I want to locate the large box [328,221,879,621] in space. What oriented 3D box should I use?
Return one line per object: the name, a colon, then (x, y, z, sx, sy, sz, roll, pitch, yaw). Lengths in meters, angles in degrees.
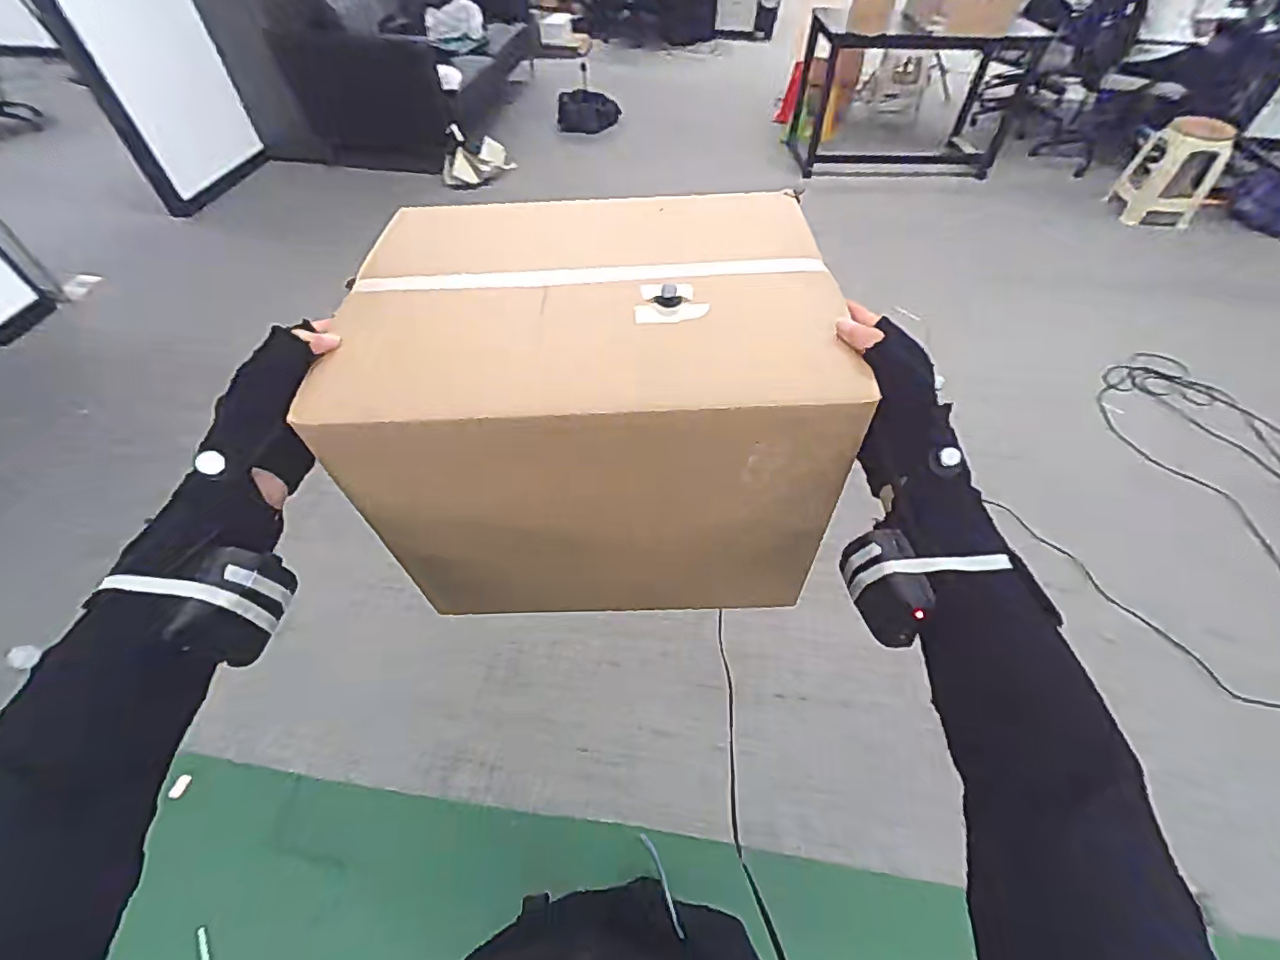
large box: (-0.028, -0.056, 0.591, 0.408, 0.320, 0.320, -1, 51, 1)
